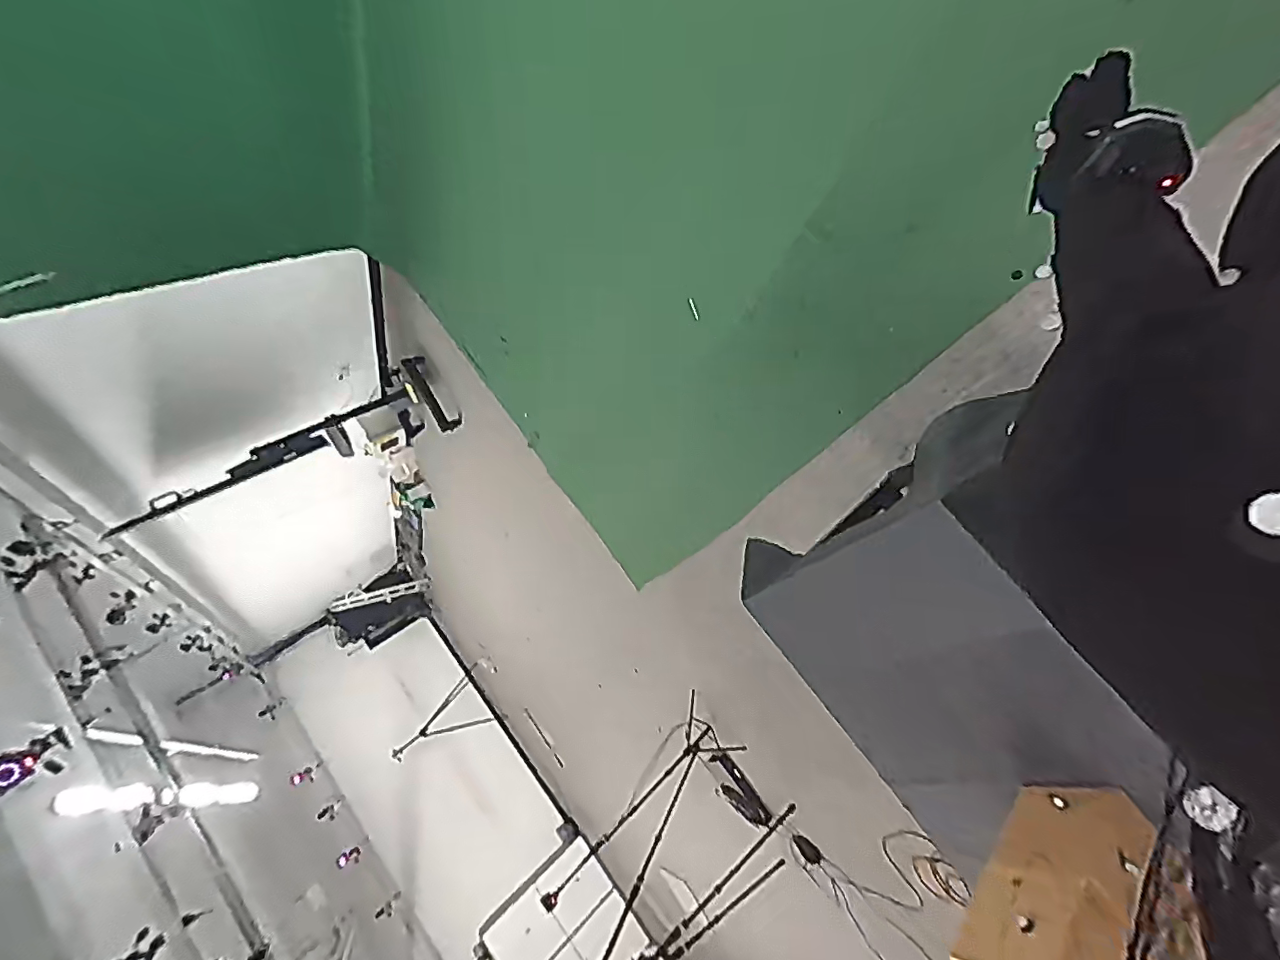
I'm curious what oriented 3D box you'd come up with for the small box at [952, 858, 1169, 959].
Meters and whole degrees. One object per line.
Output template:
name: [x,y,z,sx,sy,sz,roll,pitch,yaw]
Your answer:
small box: [0.589,0.669,0.749,0.179,0.176,0.168,51,147,11]
